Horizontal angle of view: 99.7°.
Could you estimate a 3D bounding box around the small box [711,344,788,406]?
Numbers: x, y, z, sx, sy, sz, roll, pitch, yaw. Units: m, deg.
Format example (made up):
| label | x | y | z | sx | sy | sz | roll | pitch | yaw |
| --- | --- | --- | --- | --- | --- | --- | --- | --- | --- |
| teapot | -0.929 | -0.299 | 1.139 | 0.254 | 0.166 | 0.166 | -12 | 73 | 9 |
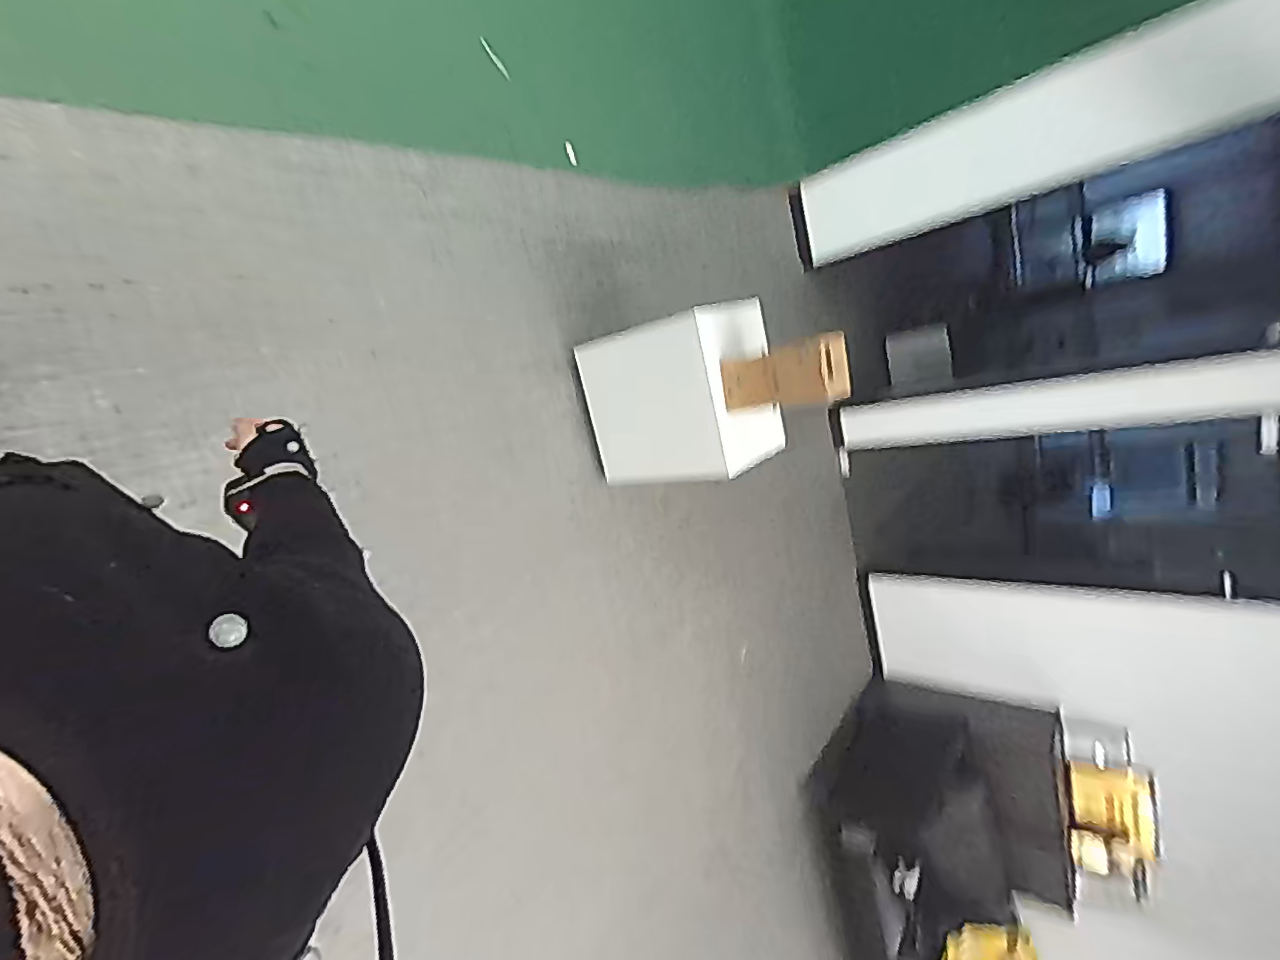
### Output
| label | x | y | z | sx | sy | sz | roll | pitch | yaw |
| --- | --- | --- | --- | --- | --- | --- | --- | --- | --- |
| small box | 0.345 | -0.330 | 1.698 | 0.179 | 0.176 | 0.168 | -18 | 102 | -47 |
